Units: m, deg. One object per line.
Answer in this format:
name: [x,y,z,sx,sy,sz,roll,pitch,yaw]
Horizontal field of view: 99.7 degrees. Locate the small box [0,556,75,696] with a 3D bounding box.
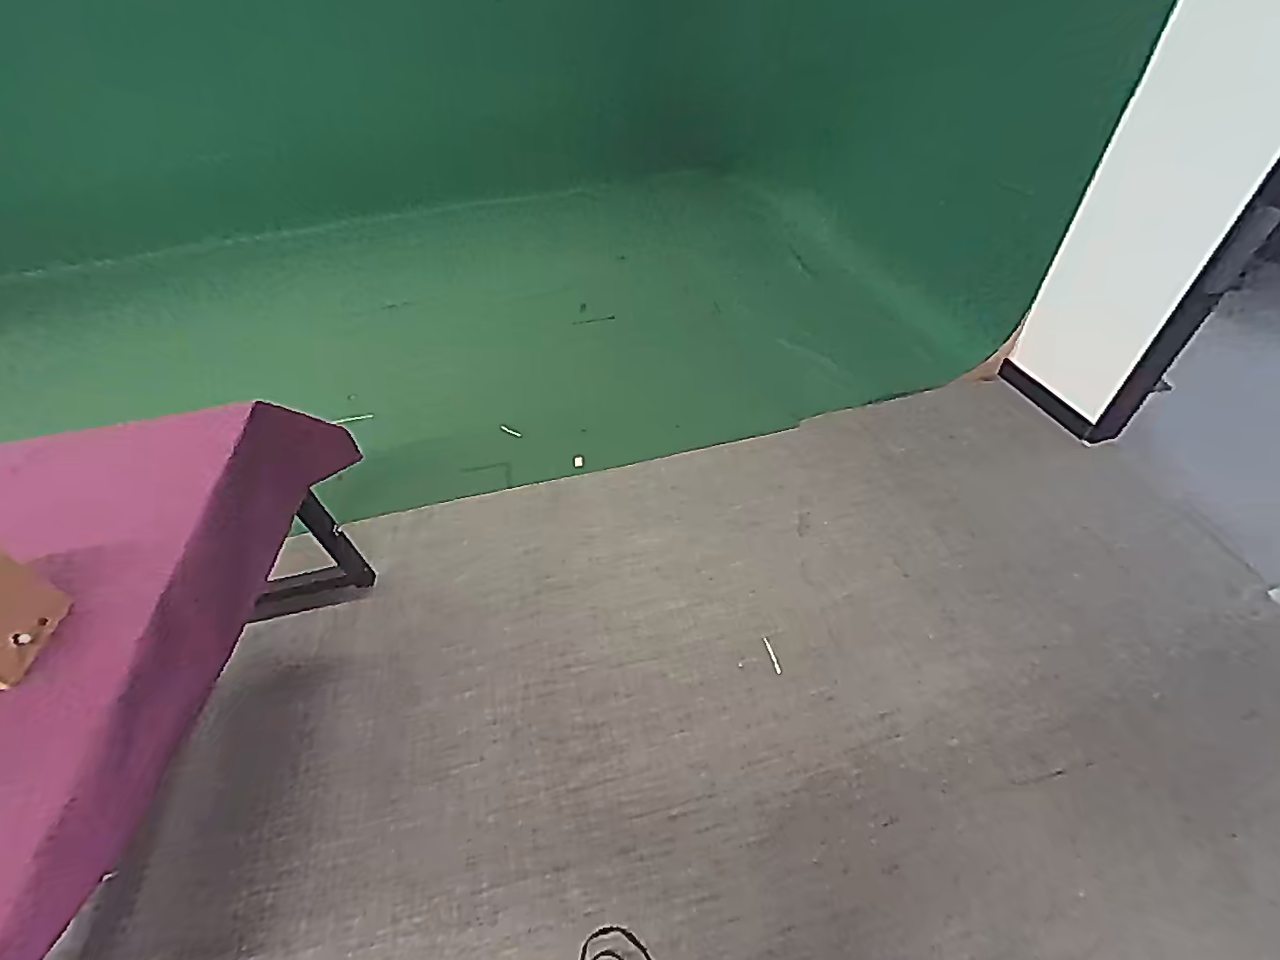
small box: [-1.057,0.231,0.825,0.179,0.176,0.168,-8,47,-2]
